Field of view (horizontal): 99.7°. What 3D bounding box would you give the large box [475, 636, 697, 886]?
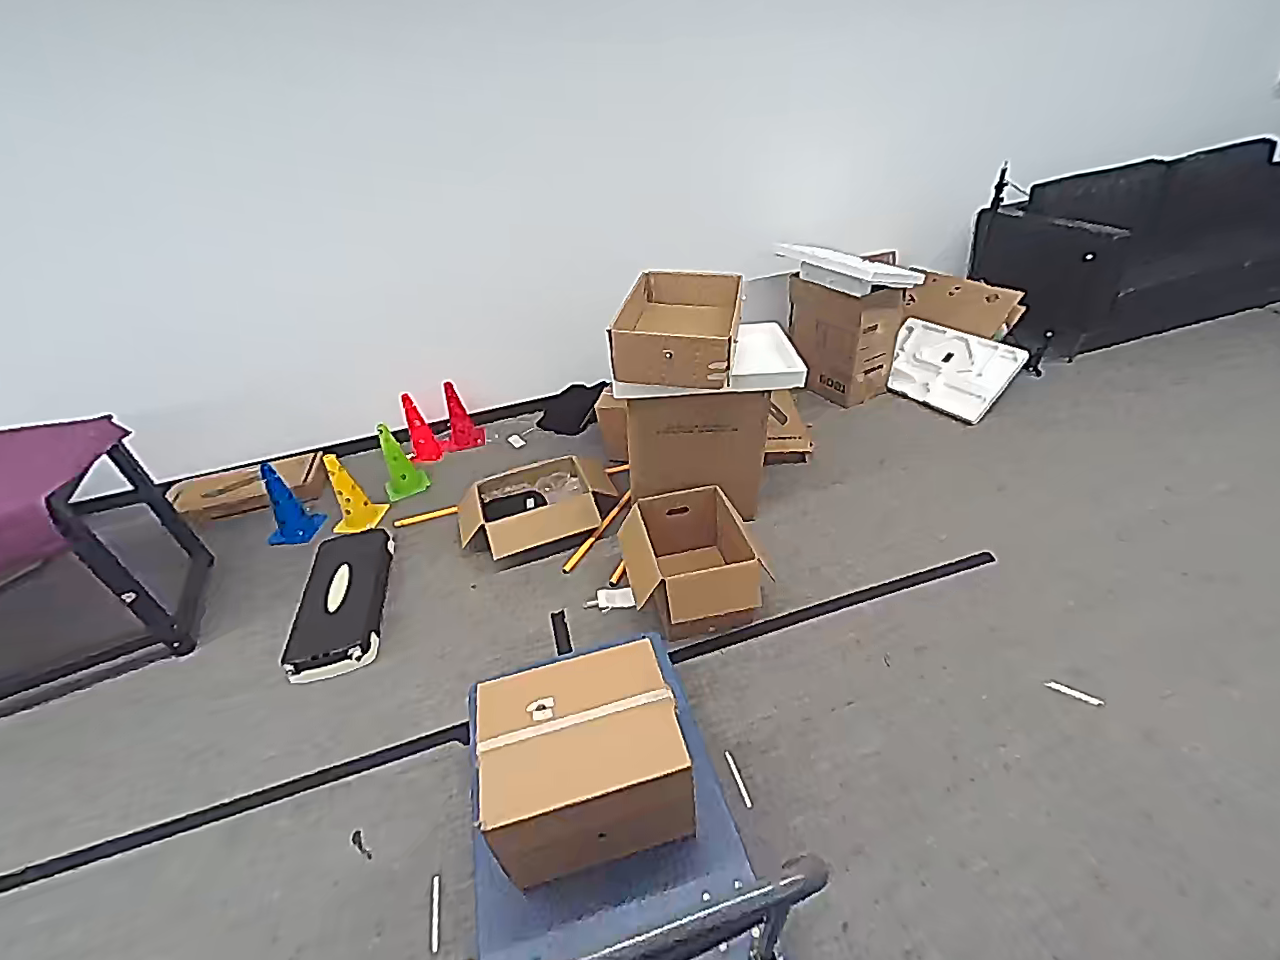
[{"bbox_3d":[-0.117,0.612,1.198,0.408,0.320,0.320,-14,36,-8],"label":"large box"}]
